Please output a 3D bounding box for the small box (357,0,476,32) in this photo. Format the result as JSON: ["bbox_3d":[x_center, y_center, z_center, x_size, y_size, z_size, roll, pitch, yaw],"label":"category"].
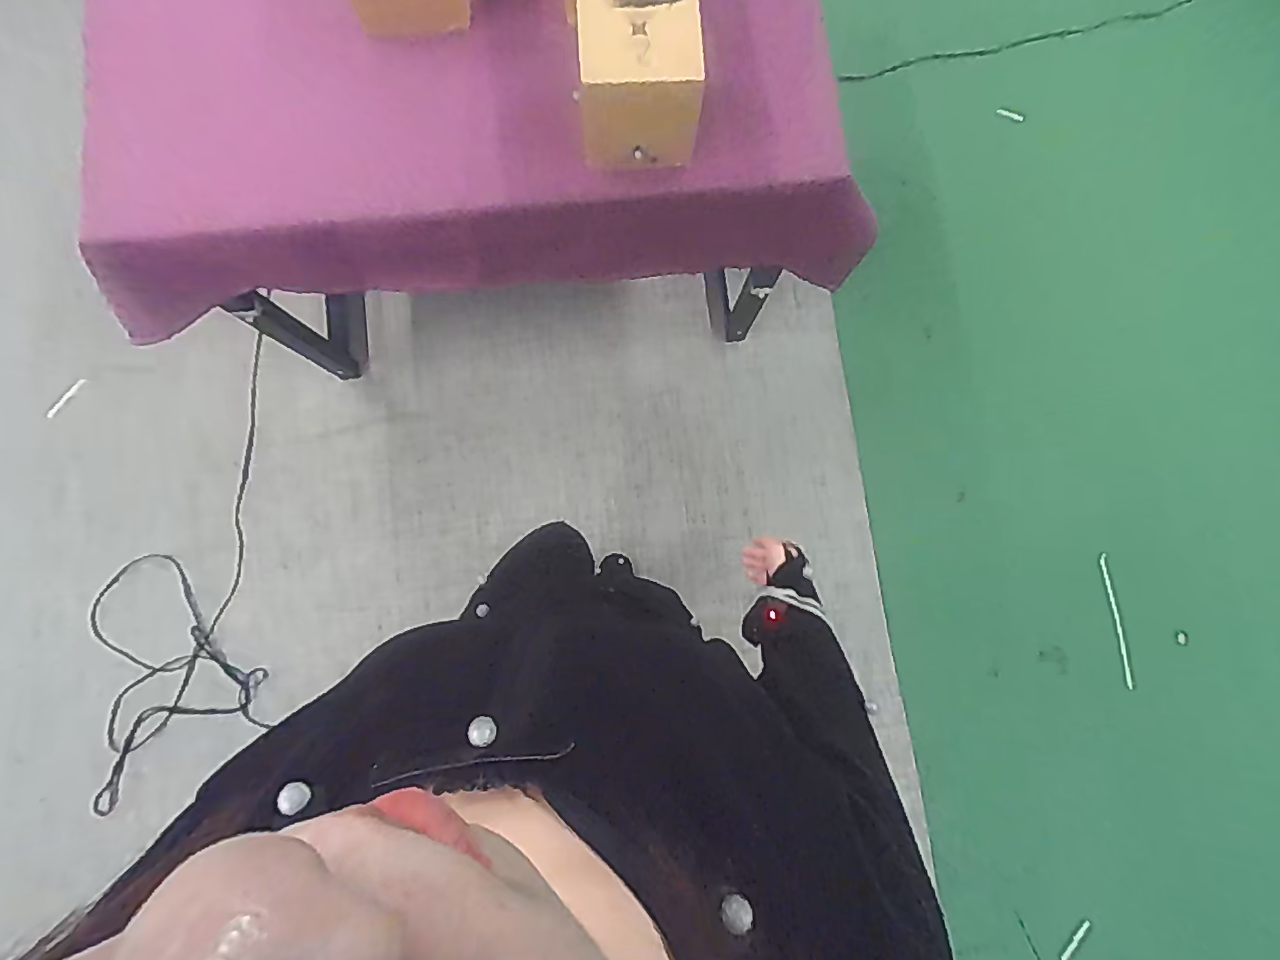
[{"bbox_3d":[-0.359,-0.825,0.818,0.179,0.176,0.168,-3,84,-3],"label":"small box"}]

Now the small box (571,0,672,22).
[{"bbox_3d":[-0.032,-0.851,0.830,0.168,0.176,0.179,-3,82,-2],"label":"small box"}]
